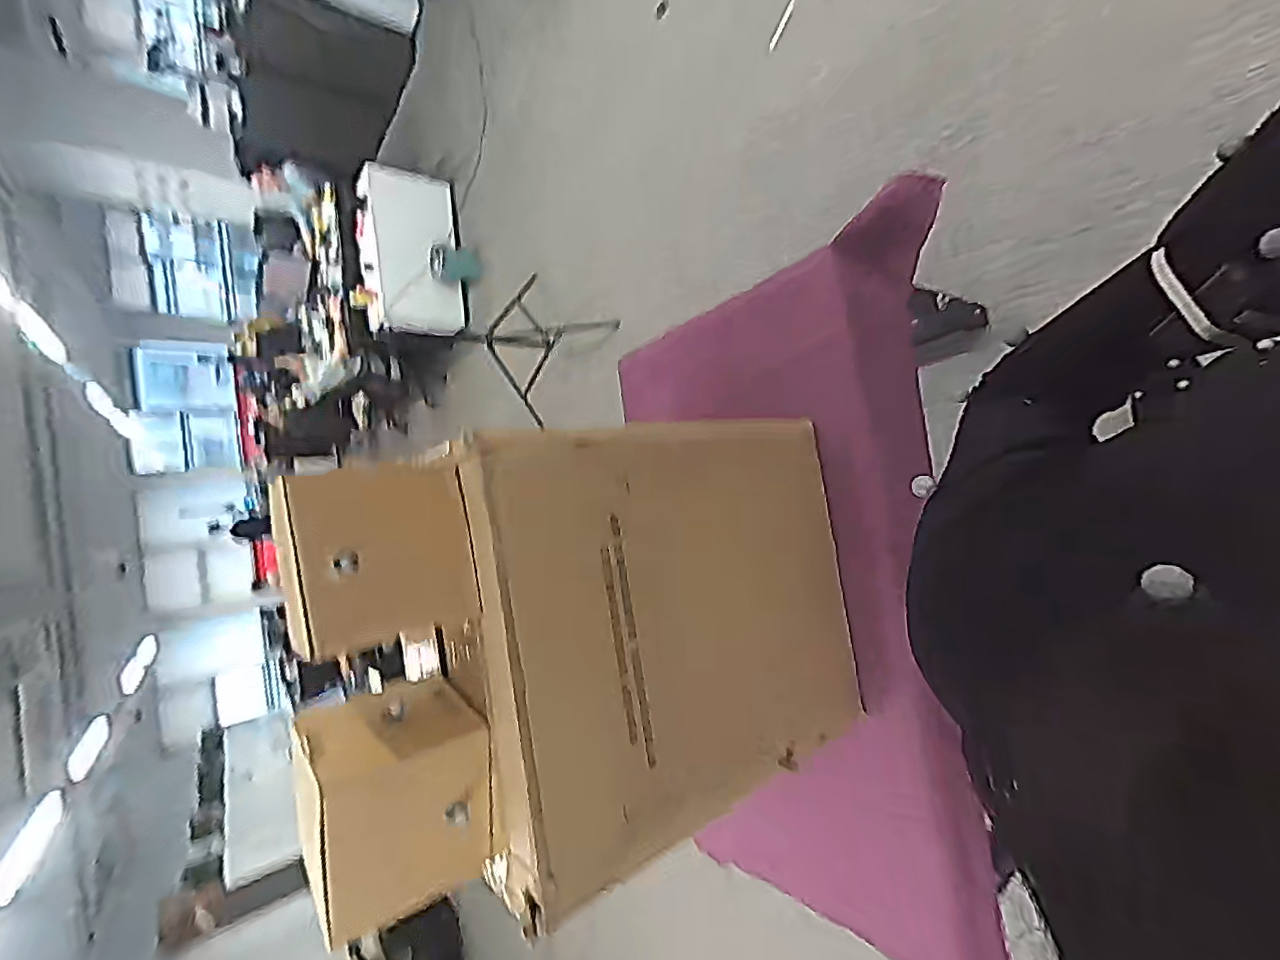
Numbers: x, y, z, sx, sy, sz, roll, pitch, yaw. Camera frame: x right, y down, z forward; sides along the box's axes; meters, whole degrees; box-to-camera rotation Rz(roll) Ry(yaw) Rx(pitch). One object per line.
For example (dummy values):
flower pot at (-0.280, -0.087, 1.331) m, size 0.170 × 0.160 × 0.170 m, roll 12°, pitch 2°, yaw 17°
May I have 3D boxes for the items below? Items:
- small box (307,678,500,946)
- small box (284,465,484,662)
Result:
small box at (-0.273, 0.357, 0.628) m, size 0.168 × 0.176 × 0.179 m, roll 10°, pitch 102°, yaw 50°
small box at (-0.291, 0.088, 0.617) m, size 0.168 × 0.176 × 0.179 m, roll -16°, pitch 84°, yaw 52°
